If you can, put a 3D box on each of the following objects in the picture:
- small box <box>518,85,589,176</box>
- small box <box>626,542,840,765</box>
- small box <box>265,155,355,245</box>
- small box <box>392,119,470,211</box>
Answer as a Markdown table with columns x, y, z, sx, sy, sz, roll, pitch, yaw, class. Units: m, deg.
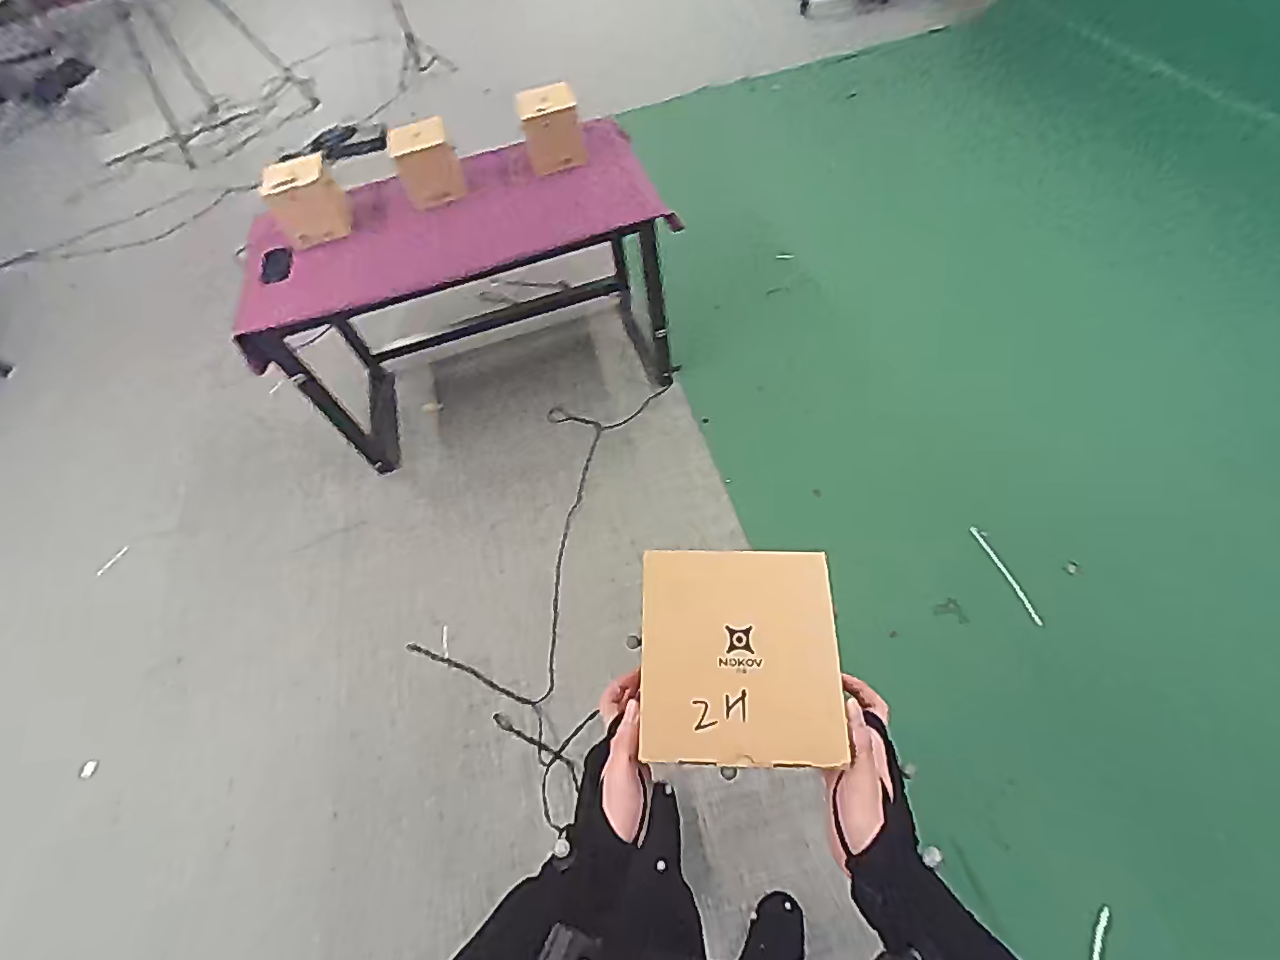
| x | y | z | sx | sy | sz | roll | pitch | yaw | class |
| --- | --- | --- | --- | --- | --- | --- | --- | --- | --- |
| -0.265 | -1.075 | 1.667 | 0.168 | 0.176 | 0.179 | -17 | 56 | -1 | small box |
| 0.076 | 0.170 | 0.518 | 0.168 | 0.176 | 0.179 | 0 | 65 | 3 | small box |
| -0.974 | -0.825 | 1.611 | 0.168 | 0.176 | 0.179 | -18 | 56 | -4 | small box |
| -0.635 | -0.957 | 1.648 | 0.168 | 0.176 | 0.179 | -19 | 57 | -3 | small box |
